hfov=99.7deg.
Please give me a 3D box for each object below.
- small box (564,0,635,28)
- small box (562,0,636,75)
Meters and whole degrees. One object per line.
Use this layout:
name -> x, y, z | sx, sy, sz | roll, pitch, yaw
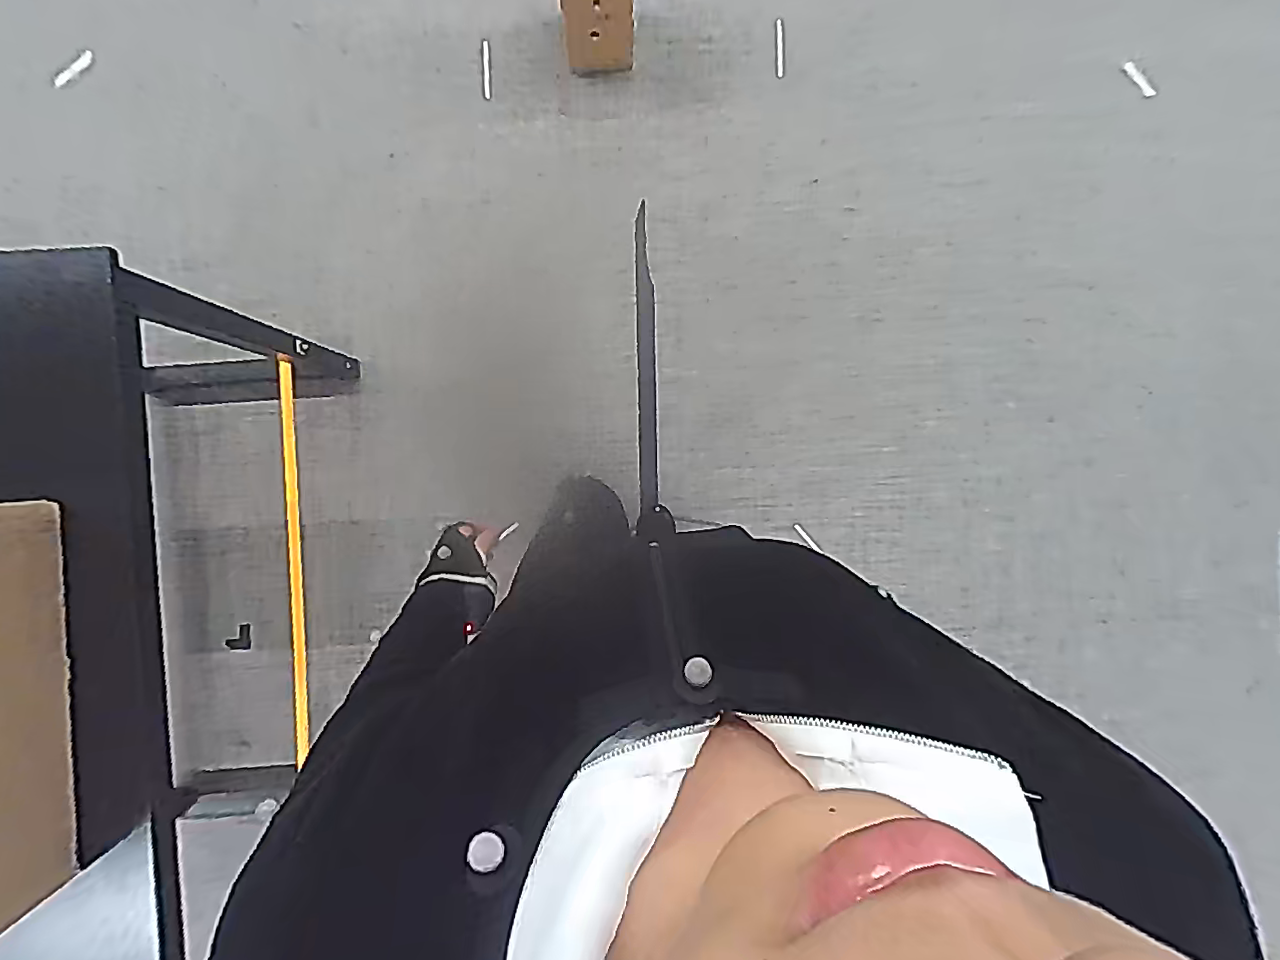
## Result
small box -> -0.094, -1.175, 1.218 | 0.168, 0.176, 0.179 | -2, 91, -1
small box -> -0.105, -1.177, 1.382 | 0.179, 0.176, 0.168 | -6, 91, -2
